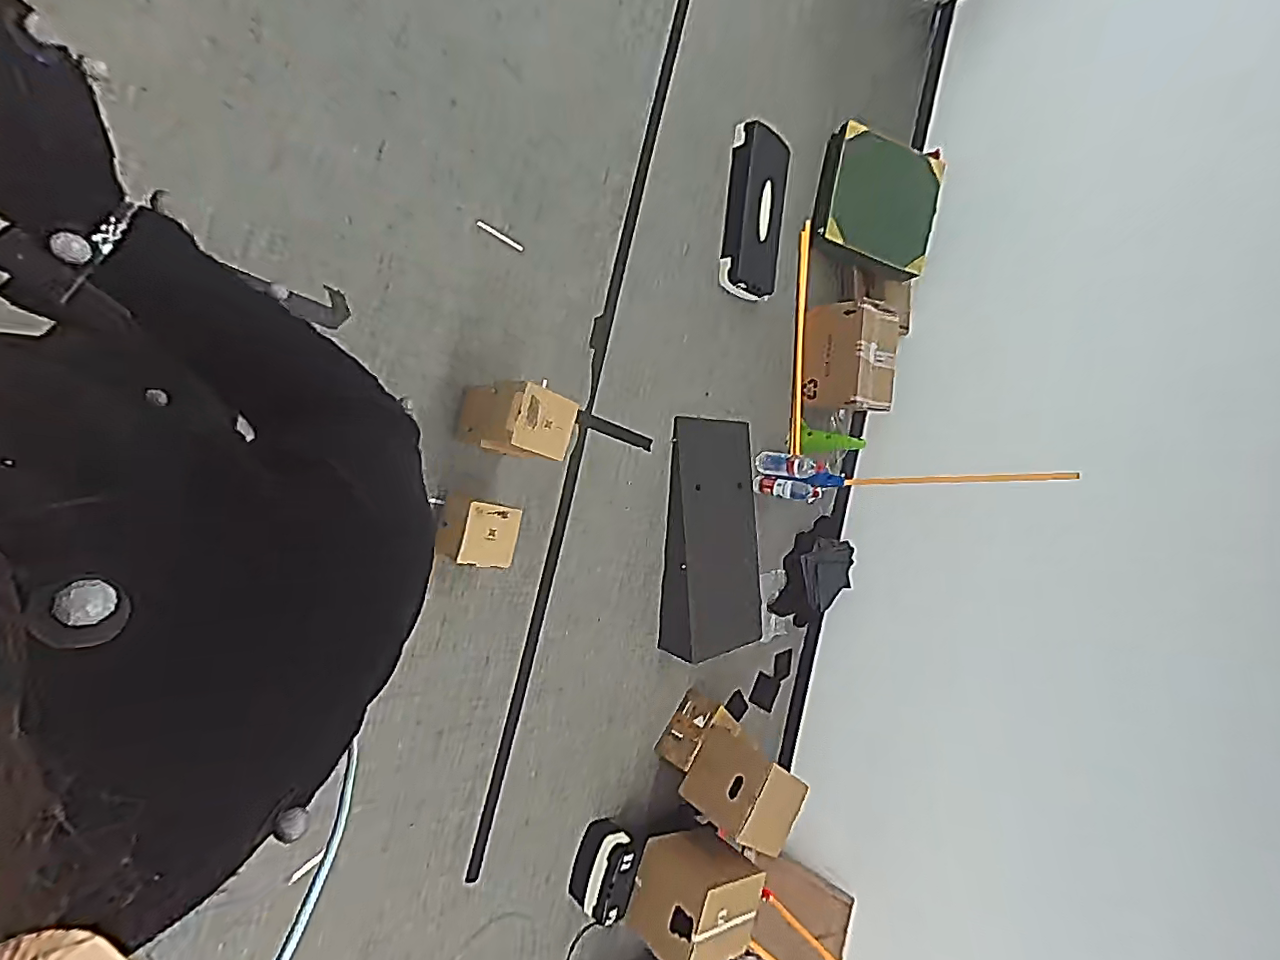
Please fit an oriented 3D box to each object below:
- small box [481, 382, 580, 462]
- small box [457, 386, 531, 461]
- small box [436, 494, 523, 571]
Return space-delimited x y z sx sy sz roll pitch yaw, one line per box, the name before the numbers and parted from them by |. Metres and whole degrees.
small box | -0.296 -0.153 1.444 0.179 0.176 0.168 19 84 -45
small box | -0.407 -0.164 1.564 0.168 0.176 0.179 15 86 -44
small box | -0.468 0.150 1.560 0.168 0.176 0.179 16 87 -44
